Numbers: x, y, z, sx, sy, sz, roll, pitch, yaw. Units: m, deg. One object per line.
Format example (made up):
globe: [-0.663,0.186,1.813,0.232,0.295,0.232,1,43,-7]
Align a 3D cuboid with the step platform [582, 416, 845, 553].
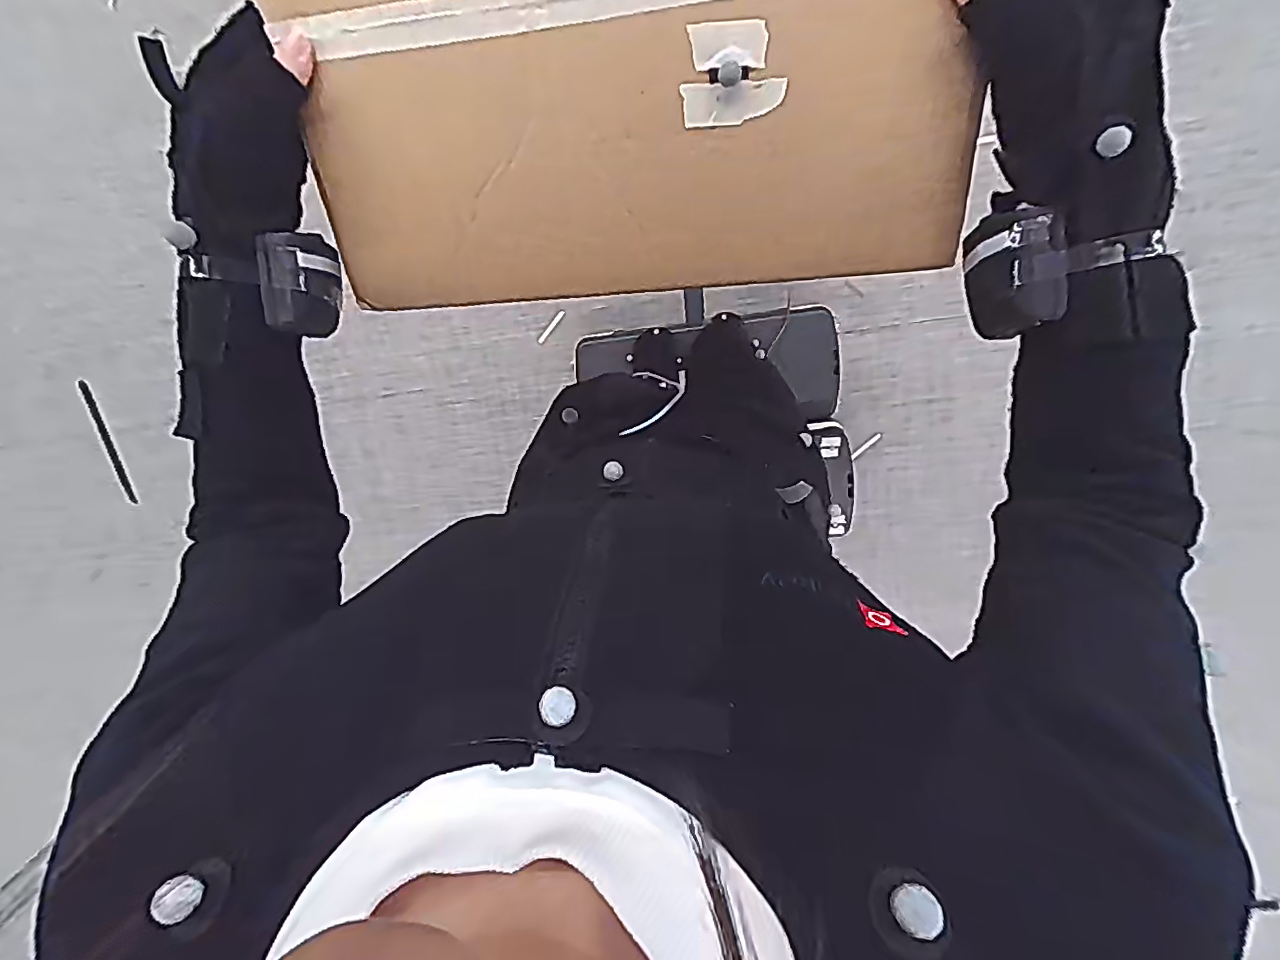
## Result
step platform: [0.188,0.017,1.458,0.684,0.204,0.286,-6,106,9]

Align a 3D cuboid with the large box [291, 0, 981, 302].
large box: [0.001,-0.346,0.439,0.408,0.320,0.320,-2,118,8]
